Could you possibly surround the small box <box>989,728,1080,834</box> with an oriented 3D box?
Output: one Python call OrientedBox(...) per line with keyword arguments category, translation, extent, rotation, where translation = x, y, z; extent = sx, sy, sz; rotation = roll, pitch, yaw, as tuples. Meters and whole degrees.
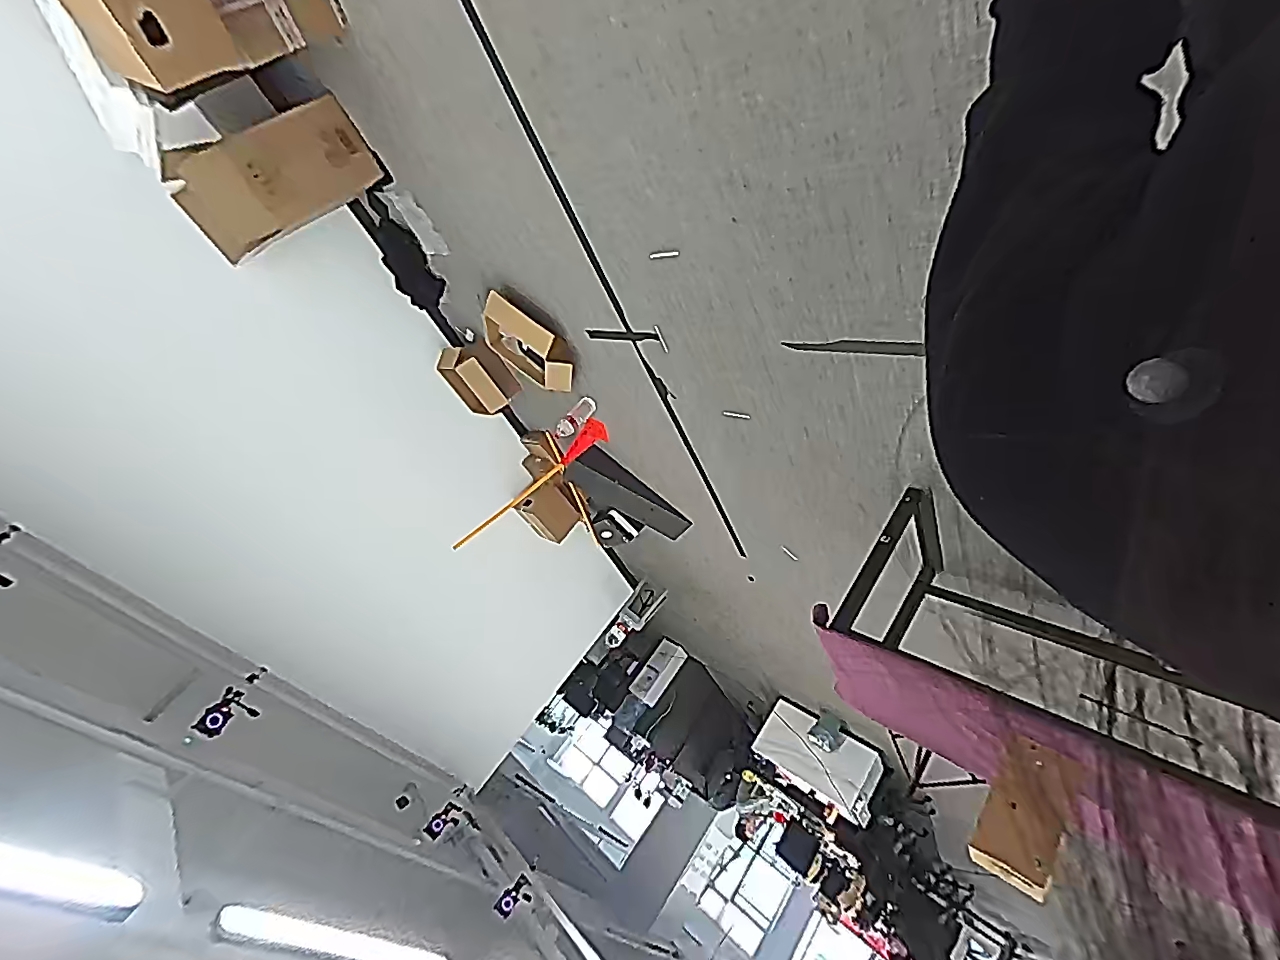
OrientedBox(category="small box", translation=(1.081, 0.822, 1.485), extent=(0.168, 0.176, 0.179), rotation=(17, 149, 42))
